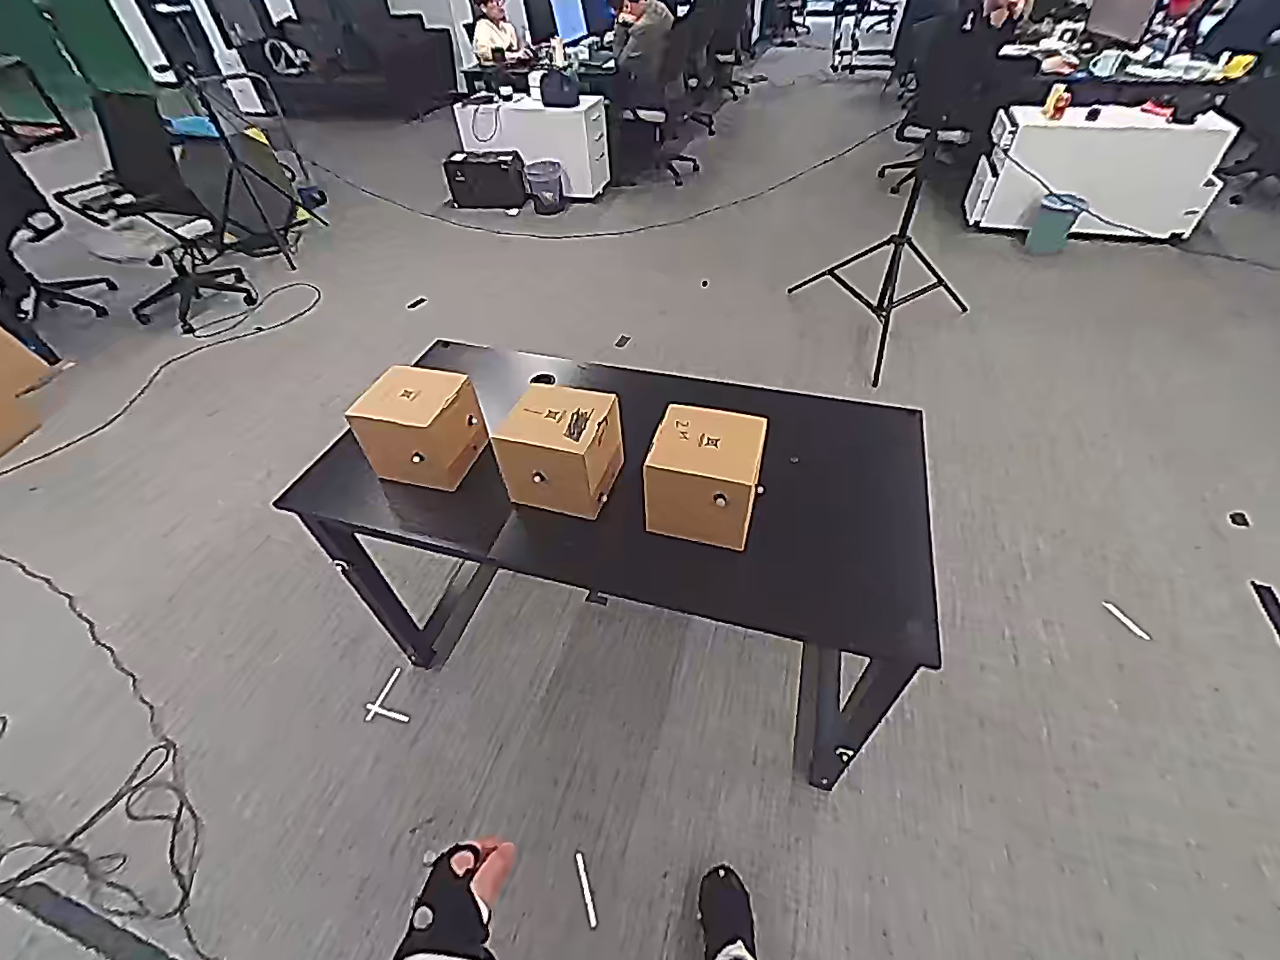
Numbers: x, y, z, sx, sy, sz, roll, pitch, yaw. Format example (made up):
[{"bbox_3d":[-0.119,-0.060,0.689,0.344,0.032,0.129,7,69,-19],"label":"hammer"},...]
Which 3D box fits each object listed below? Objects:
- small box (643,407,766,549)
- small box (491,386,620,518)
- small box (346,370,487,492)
[{"bbox_3d":[0.113,-0.001,0.946,0.179,0.176,0.168,10,47,13],"label":"small box"},{"bbox_3d":[-0.145,-0.049,1.010,0.179,0.176,0.168,11,47,15],"label":"small box"},{"bbox_3d":[-0.429,-0.095,1.074,0.179,0.176,0.168,9,46,12],"label":"small box"}]
